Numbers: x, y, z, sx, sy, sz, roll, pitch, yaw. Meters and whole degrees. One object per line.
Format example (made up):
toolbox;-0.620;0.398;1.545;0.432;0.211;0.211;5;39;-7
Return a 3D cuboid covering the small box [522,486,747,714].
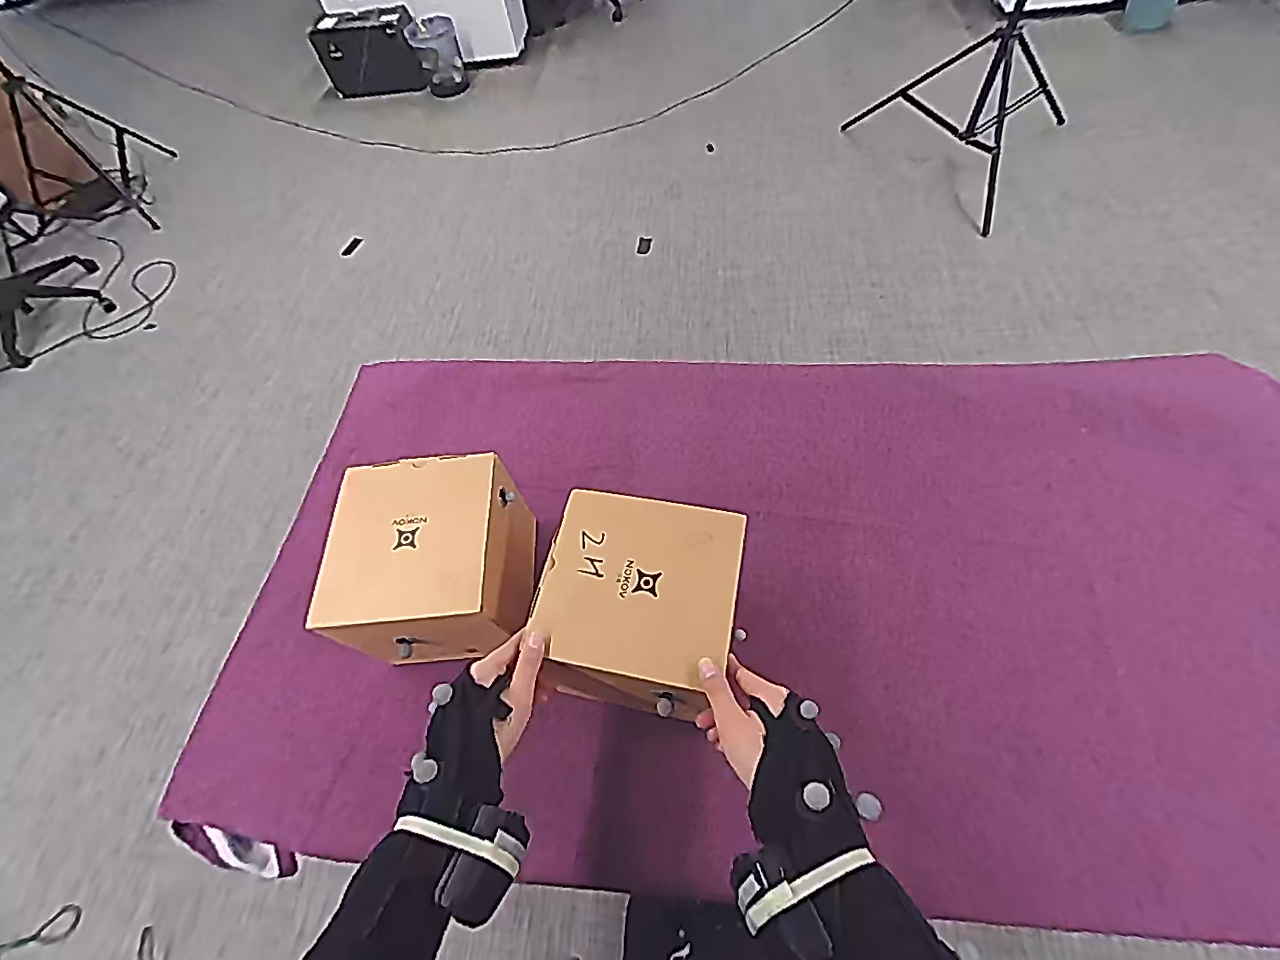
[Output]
small box;0.006;0.128;0.552;0.179;0.176;0.168;8;59;11

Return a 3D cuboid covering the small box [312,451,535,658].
small box;-0.220;0.092;0.603;0.168;0.176;0.179;-7;58;3
